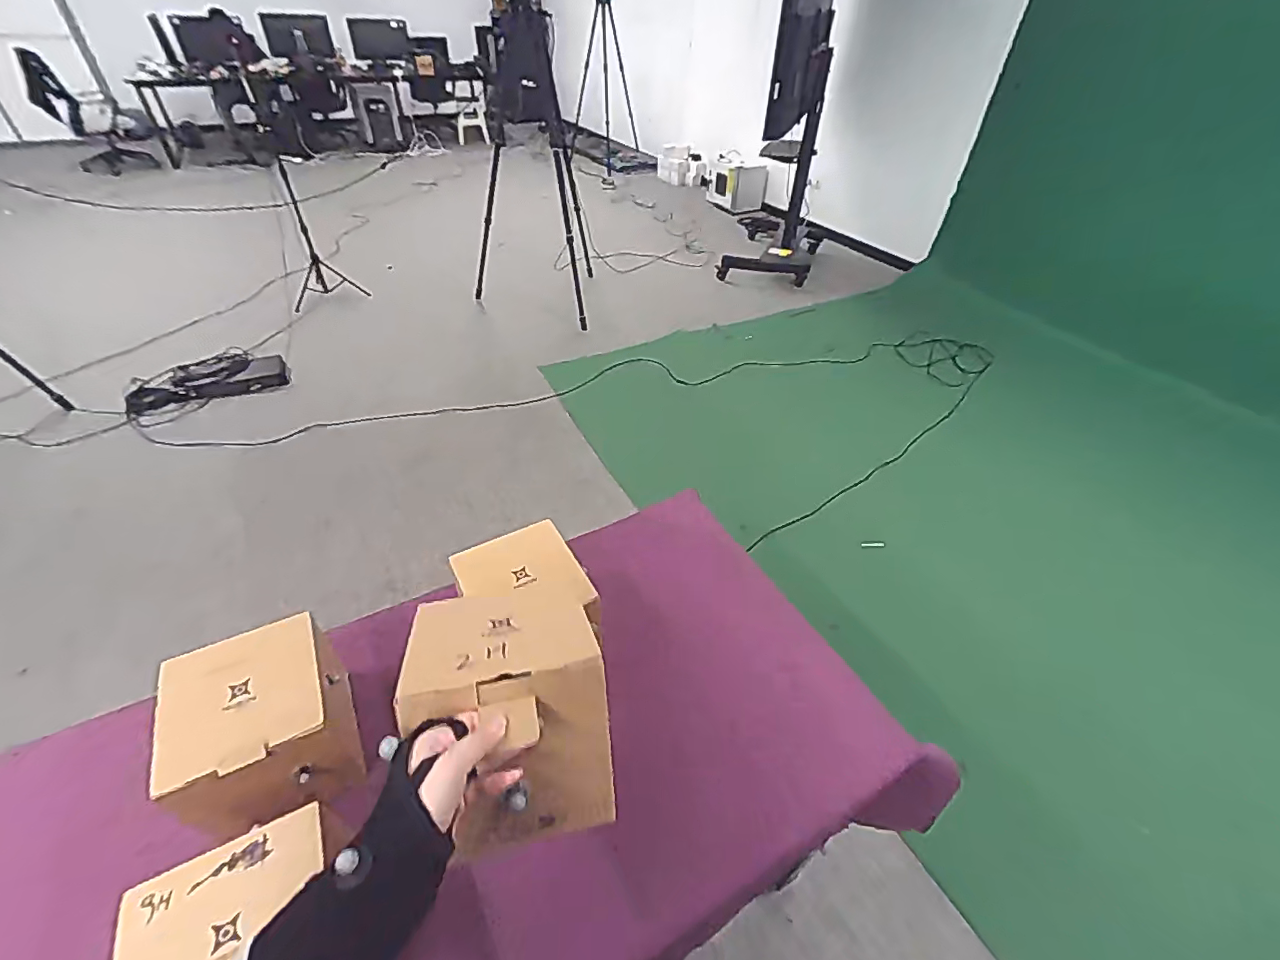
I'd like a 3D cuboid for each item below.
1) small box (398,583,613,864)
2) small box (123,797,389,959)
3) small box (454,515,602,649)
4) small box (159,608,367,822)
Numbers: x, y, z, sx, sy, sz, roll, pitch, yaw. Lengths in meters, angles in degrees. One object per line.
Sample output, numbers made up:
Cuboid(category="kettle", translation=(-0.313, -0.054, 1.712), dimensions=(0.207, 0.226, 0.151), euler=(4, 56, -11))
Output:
Cuboid(category="small box", translation=(-0.125, 0.222, 0.532), dimensions=(0.168, 0.176, 0.179), euler=(-7, 14, -13))
Cuboid(category="small box", translation=(-0.360, 0.461, 0.530), dimensions=(0.168, 0.176, 0.179), euler=(-19, 47, -22))
Cuboid(category="small box", translation=(-0.170, 0.191, 0.834), dimensions=(0.168, 0.176, 0.179), euler=(-21, 48, -23))
Cuboid(category="small box", translation=(-0.470, 0.306, 0.696), dimensions=(0.168, 0.176, 0.179), euler=(-18, 46, -23))
